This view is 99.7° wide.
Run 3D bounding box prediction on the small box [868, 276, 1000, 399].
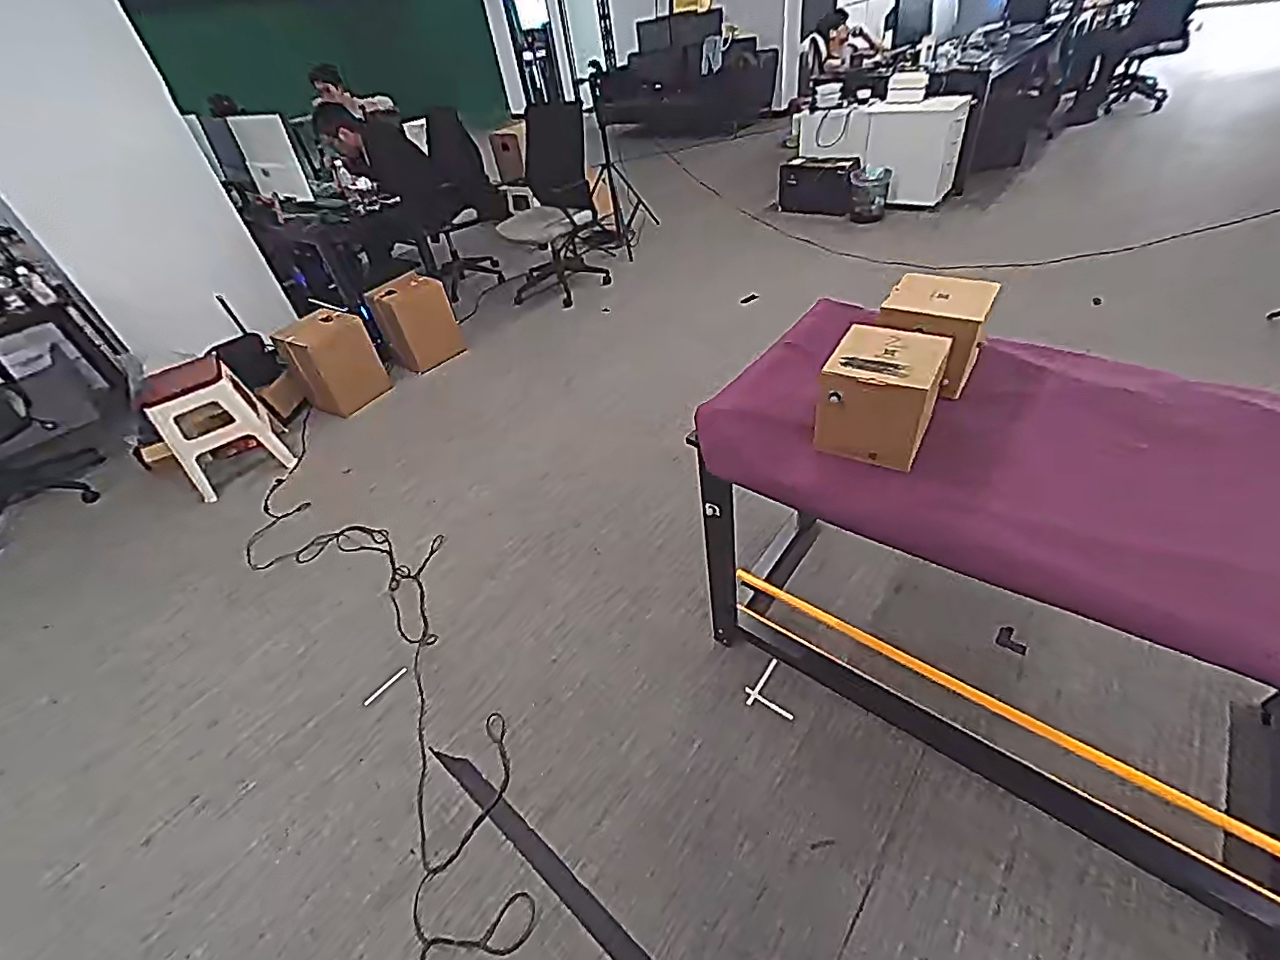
[{"bbox_3d":[0.577,-0.282,1.076,0.179,0.176,0.168,21,50,30],"label":"small box"}]
